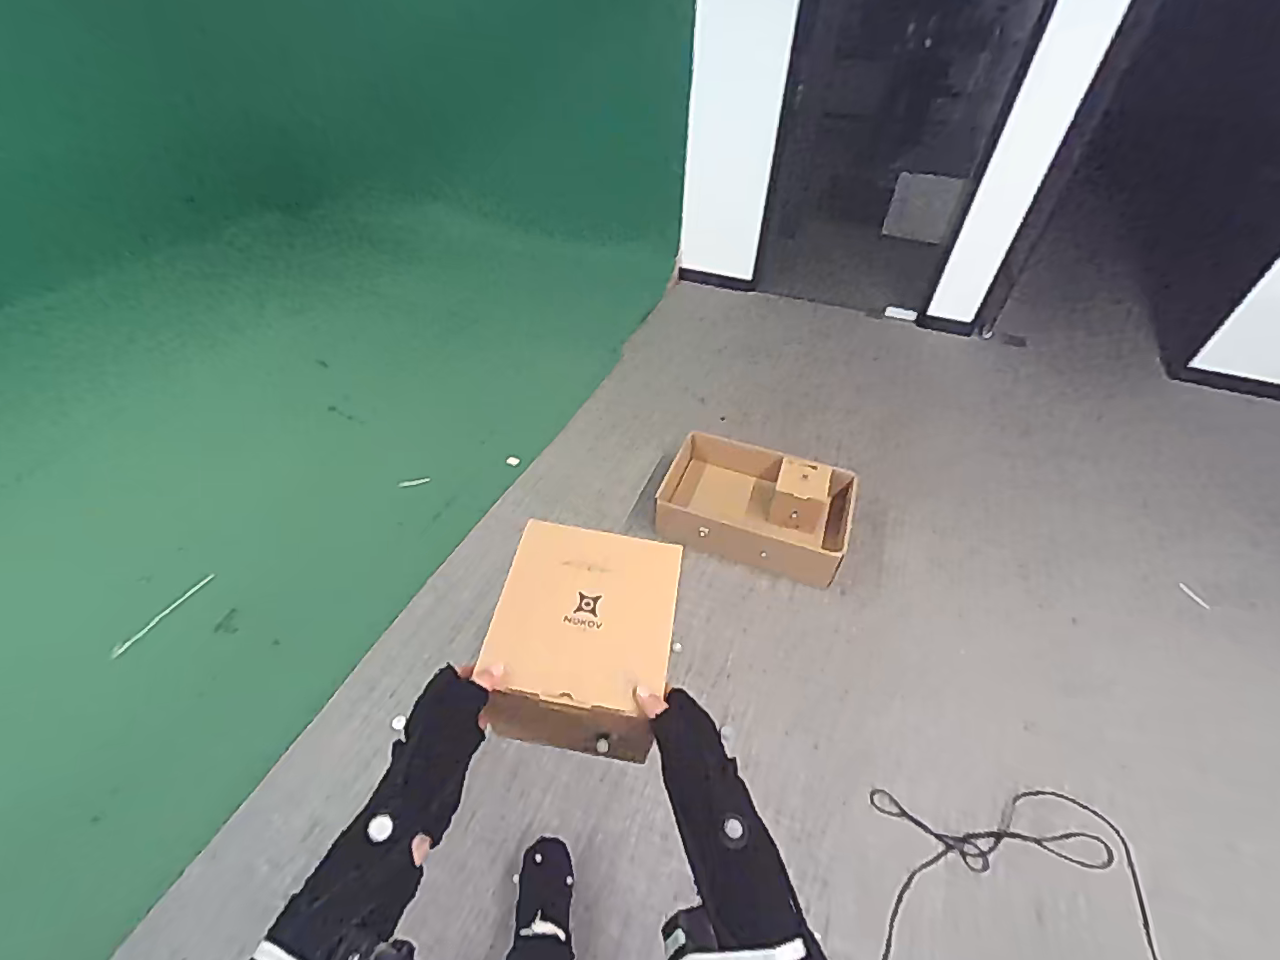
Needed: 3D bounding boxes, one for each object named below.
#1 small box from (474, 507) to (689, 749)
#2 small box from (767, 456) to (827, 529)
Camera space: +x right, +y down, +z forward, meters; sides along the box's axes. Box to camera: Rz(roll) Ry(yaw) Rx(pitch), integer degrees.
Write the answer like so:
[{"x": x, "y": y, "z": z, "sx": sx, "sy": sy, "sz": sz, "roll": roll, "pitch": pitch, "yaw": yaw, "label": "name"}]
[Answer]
[{"x": -0.050, "y": 0.157, "z": 0.557, "sx": 0.168, "sy": 0.176, "sz": 0.179, "roll": 10, "pitch": 50, "yaw": 3, "label": "small box"}, {"x": 0.540, "y": 0.045, "z": 1.870, "sx": 0.168, "sy": 0.176, "sz": 0.179, "roll": 12, "pitch": 45, "yaw": 13, "label": "small box"}]
